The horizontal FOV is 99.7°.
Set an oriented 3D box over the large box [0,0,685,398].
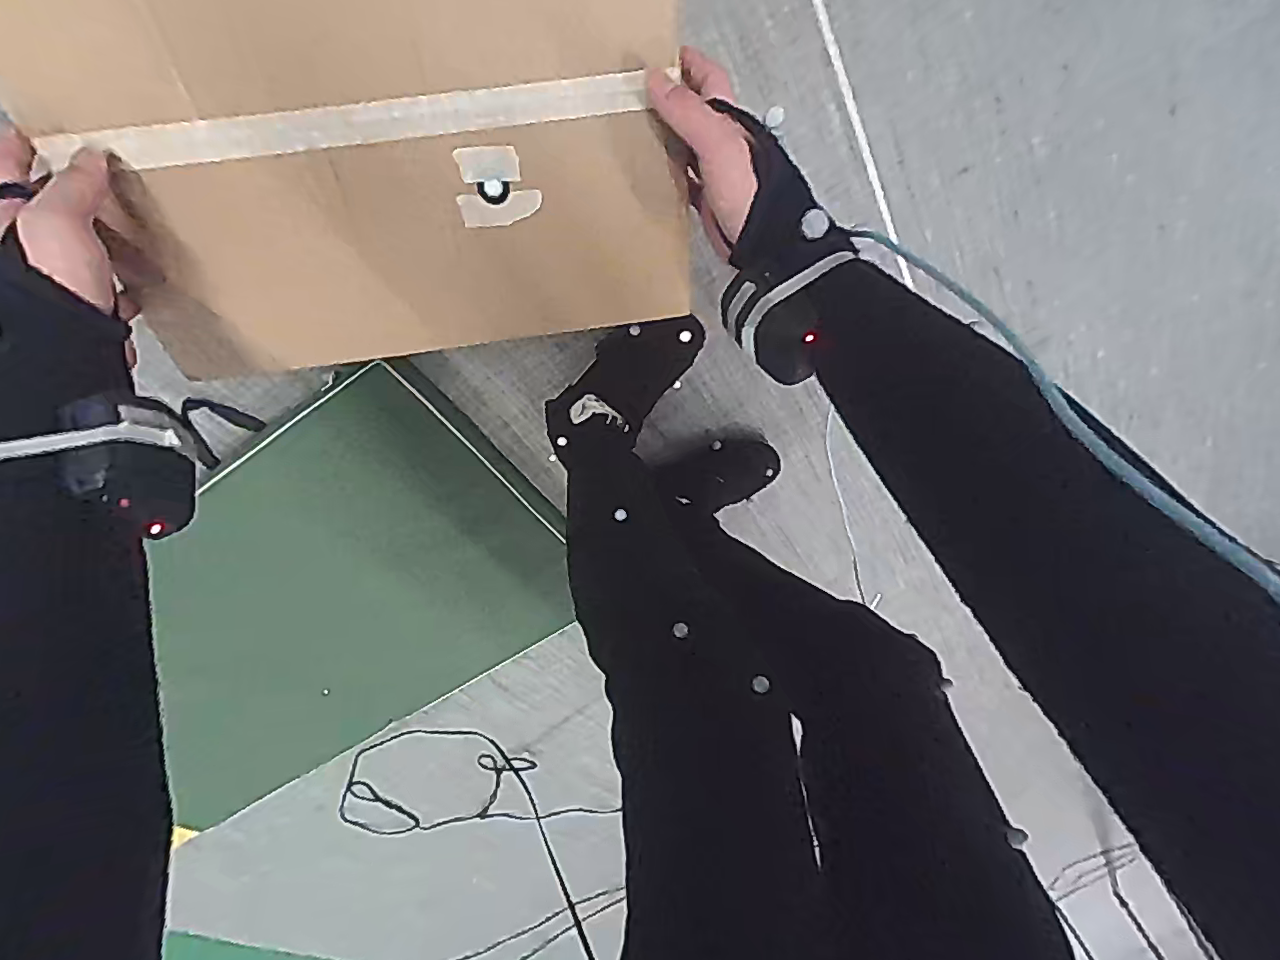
[{"bbox_3d":[-0.196,-0.306,0.483,0.408,0.320,0.320,-10,126,-4],"label":"large box"}]
